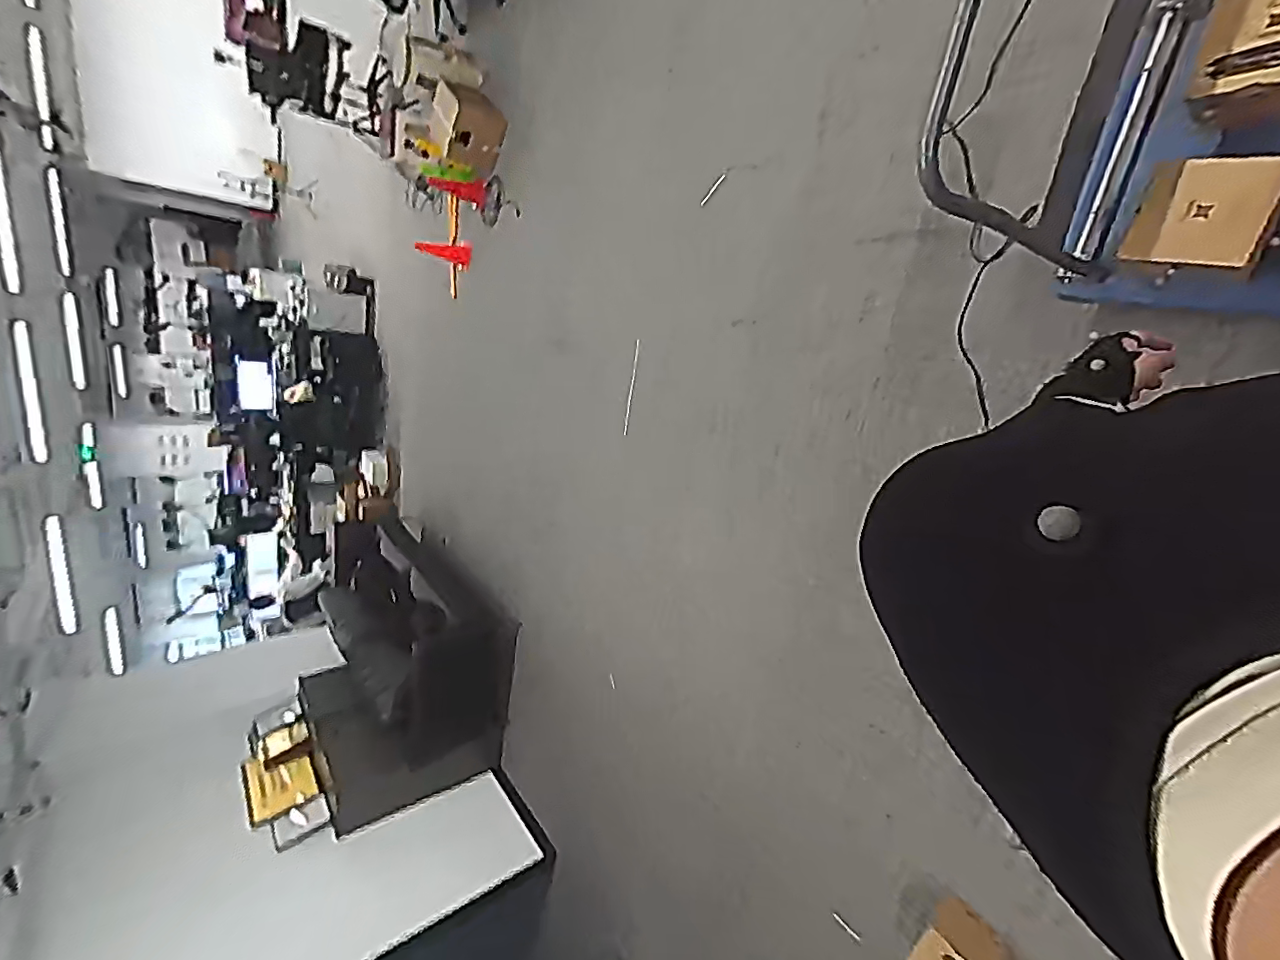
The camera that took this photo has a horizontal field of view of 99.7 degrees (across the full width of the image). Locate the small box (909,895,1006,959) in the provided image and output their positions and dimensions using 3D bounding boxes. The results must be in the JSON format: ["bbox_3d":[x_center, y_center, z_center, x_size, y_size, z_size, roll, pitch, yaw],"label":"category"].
[{"bbox_3d":[0.921,1.361,1.559,0.168,0.176,0.179,34,119,43],"label":"small box"}]

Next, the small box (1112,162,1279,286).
[{"bbox_3d":[1.014,-0.458,0.981,0.179,0.176,0.168,30,116,43],"label":"small box"}]
